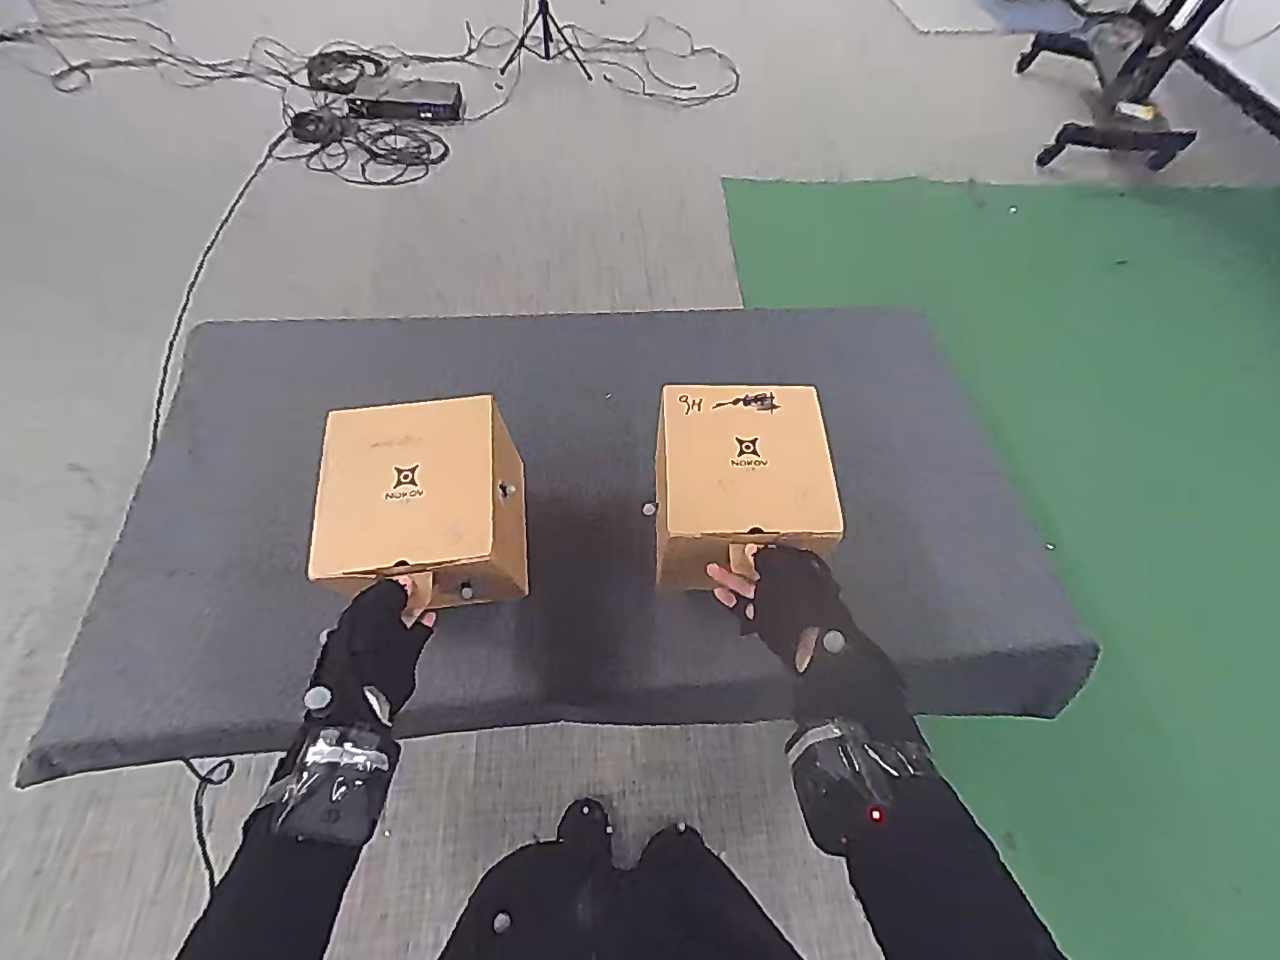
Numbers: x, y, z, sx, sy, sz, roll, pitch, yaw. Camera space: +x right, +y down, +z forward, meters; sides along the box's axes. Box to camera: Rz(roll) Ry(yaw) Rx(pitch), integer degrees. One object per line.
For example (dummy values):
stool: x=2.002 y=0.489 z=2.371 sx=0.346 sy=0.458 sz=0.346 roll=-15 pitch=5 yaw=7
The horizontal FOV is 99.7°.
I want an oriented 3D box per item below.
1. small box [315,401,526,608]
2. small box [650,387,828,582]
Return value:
small box: x=-0.226 y=0.038 z=0.602 sx=0.168 sy=0.176 sz=0.179 roll=-7 pitch=65 yaw=-3
small box: x=0.098 y=0.013 z=0.619 sx=0.168 sy=0.176 sz=0.179 roll=1 pitch=63 yaw=-1
